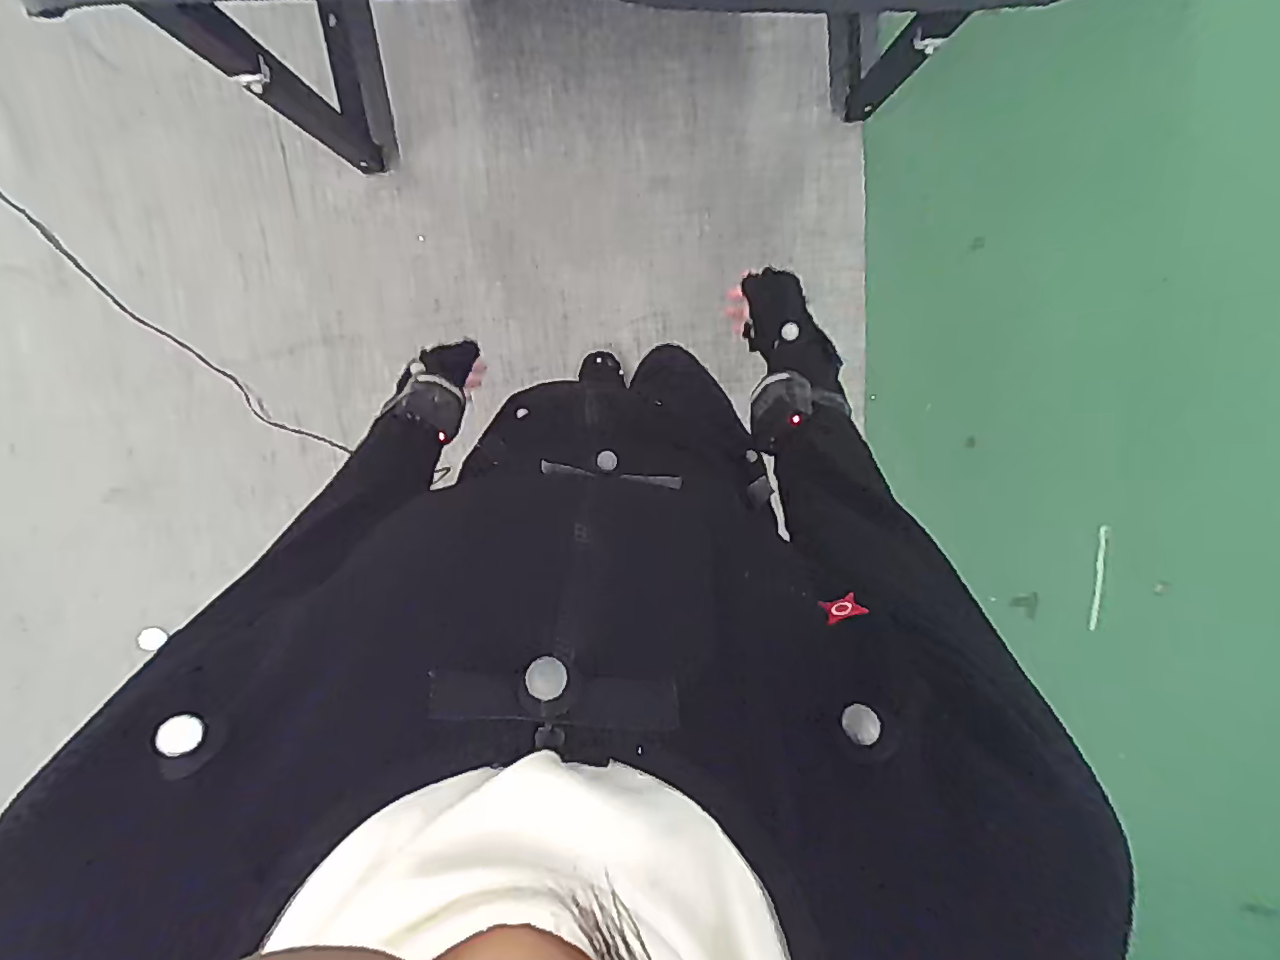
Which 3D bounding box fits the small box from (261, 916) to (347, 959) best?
[{"bbox_3d":[-0.828,1.197,1.275,0.168,0.176,0.179,26,98,-7],"label":"small box"}]
